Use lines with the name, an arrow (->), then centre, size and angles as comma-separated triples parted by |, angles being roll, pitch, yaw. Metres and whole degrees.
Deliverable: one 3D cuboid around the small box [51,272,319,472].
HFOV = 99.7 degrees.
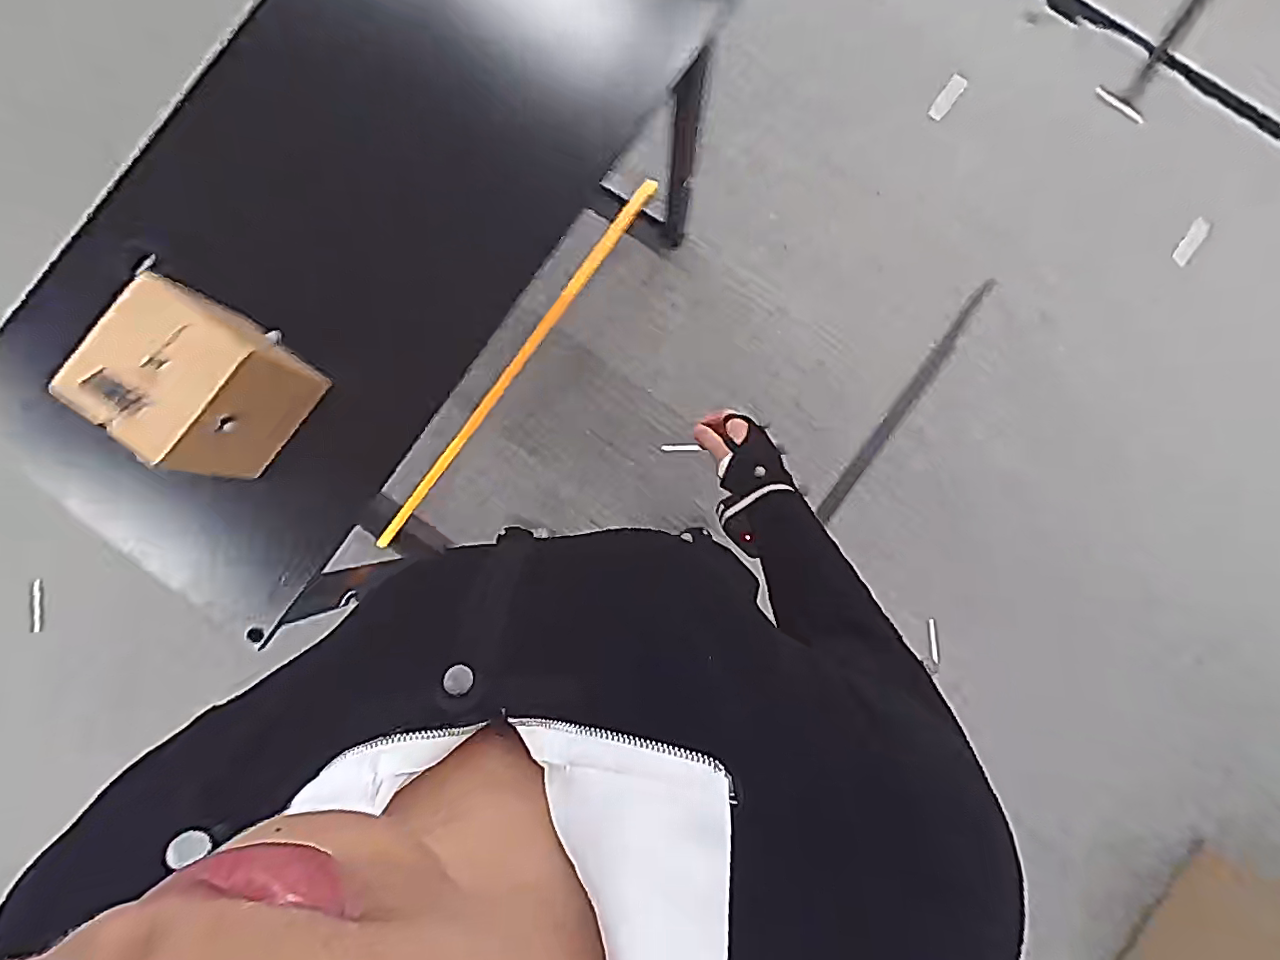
small box -> -0.574, -0.125, 0.711 | 0.168, 0.176, 0.179 | 36, 86, 2
